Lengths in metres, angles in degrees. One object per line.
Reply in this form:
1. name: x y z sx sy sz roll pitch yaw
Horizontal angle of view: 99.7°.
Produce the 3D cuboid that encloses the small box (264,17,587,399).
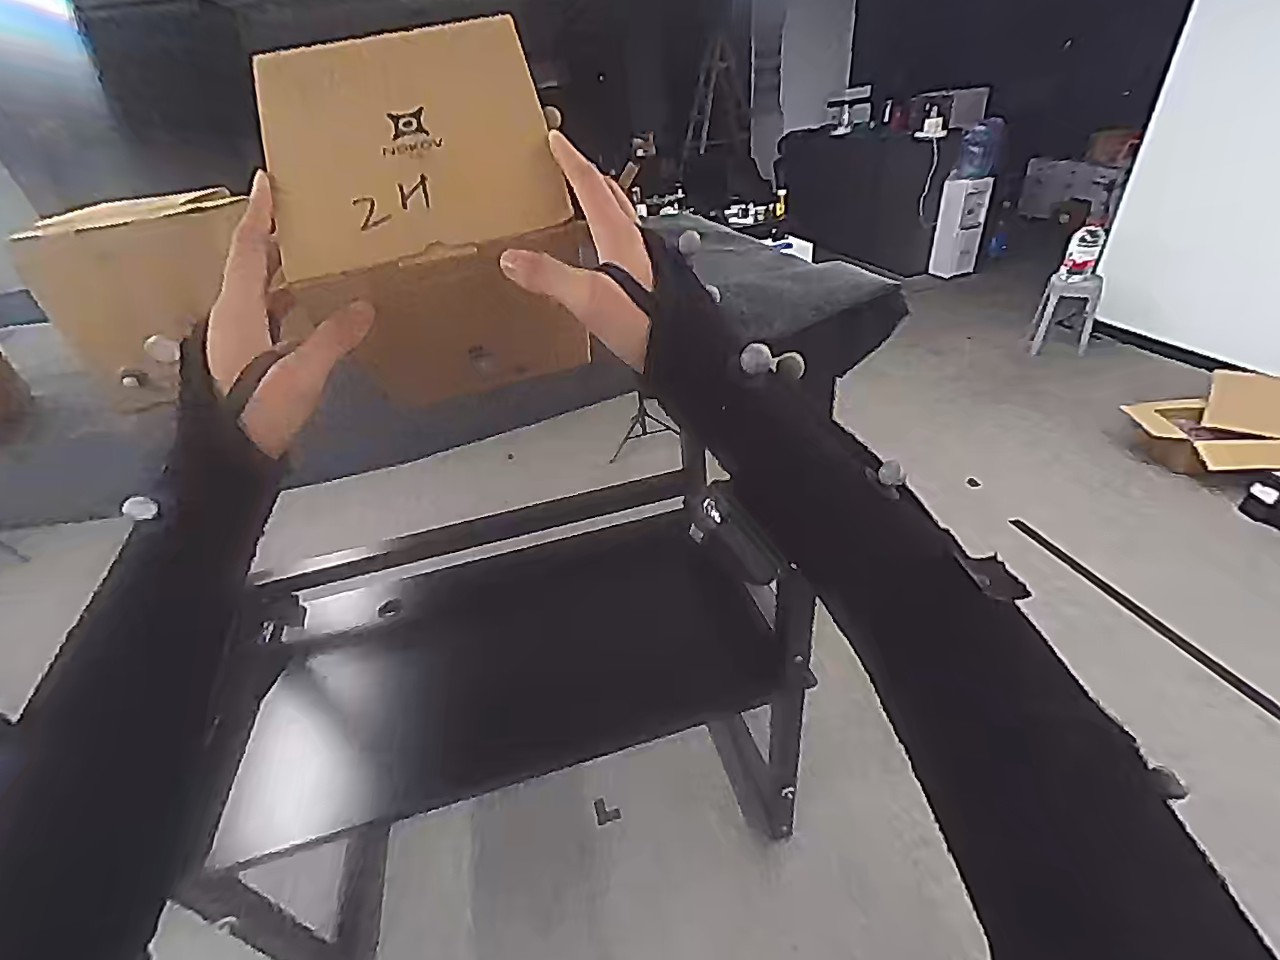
1. small box: -0.140 -0.187 0.405 0.168 0.176 0.179 -15 75 -7
